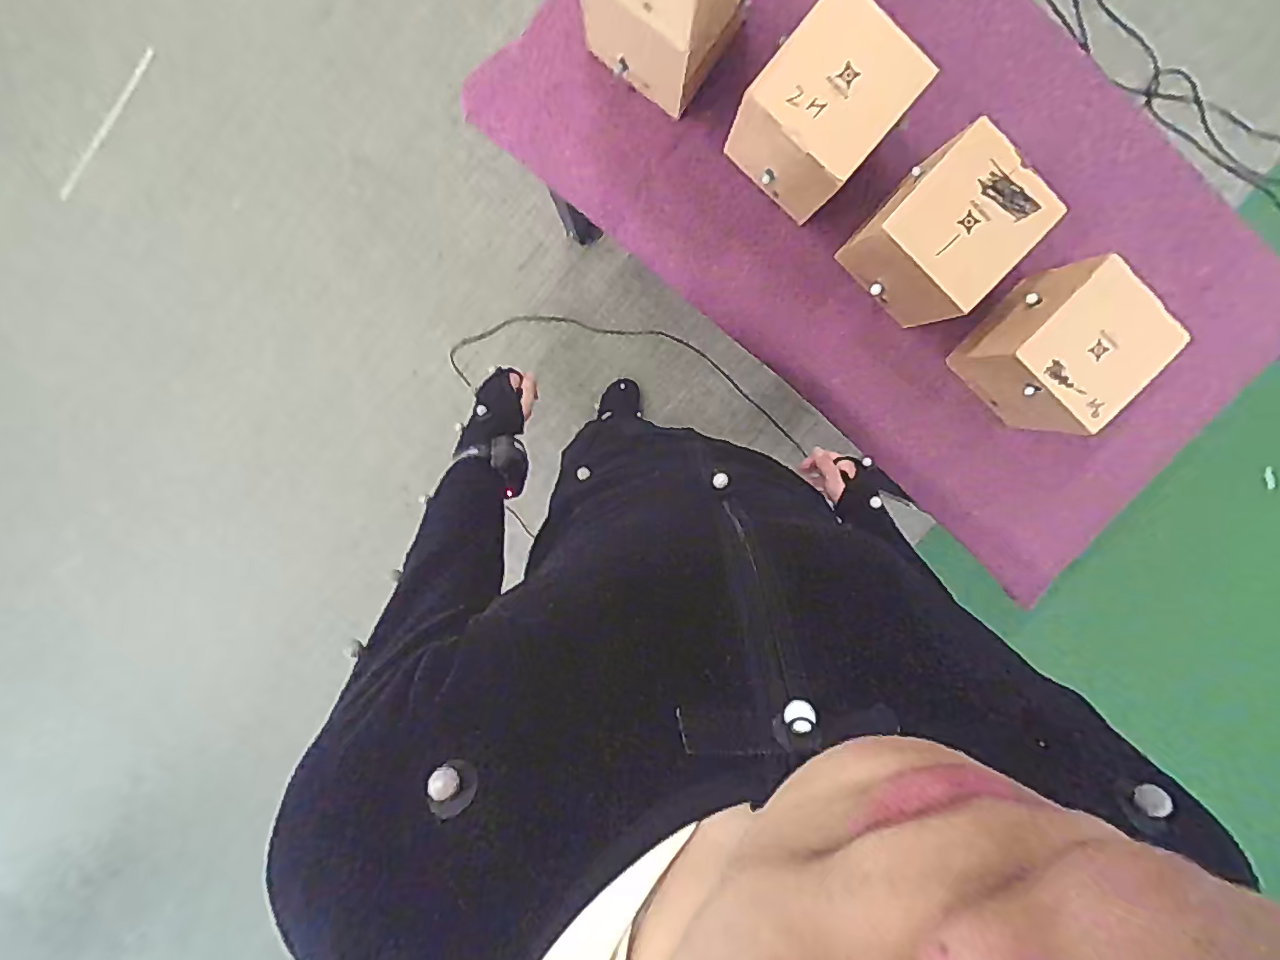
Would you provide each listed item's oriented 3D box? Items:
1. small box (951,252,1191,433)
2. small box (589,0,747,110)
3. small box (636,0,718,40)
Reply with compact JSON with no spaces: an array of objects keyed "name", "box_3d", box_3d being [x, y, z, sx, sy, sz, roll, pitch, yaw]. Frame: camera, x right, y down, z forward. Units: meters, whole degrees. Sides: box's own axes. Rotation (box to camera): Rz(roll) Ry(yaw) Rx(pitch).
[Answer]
[{"name":"small box","box_3d":[0.606,-0.190,0.787,0.168,0.176,0.179,42,96,-6]},{"name":"small box","box_3d":[0.041,-0.644,0.703,0.168,0.176,0.179,35,98,-6]},{"name":"small box","box_3d":[0.039,-0.613,0.544,0.168,0.176,0.179,35,97,-5]}]
